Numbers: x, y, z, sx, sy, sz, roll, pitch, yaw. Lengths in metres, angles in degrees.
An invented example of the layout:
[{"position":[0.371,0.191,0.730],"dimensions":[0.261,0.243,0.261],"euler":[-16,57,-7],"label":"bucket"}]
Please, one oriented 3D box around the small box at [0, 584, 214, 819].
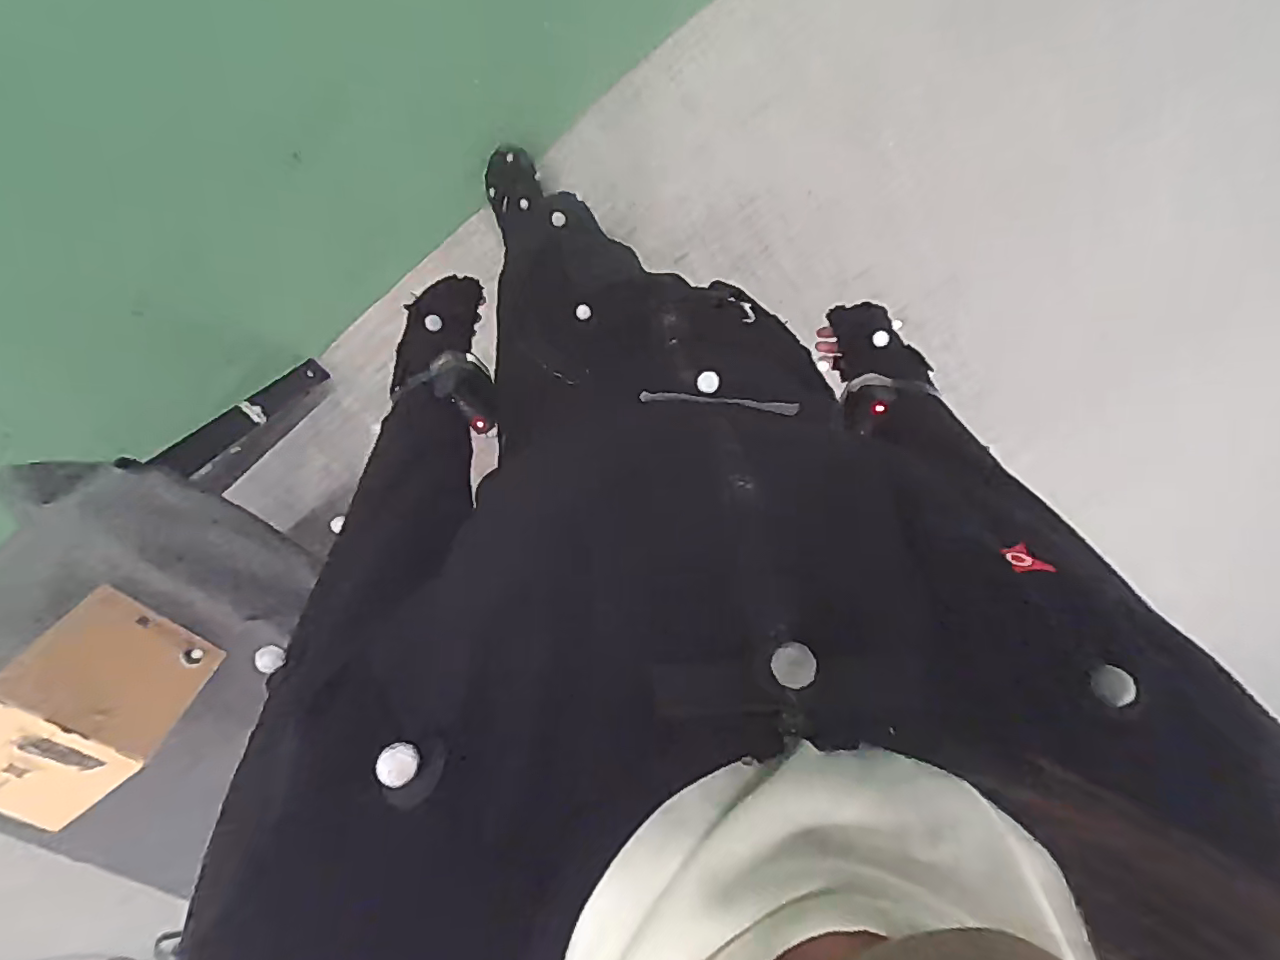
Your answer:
[{"position":[-0.670,0.259,0.652],"dimensions":[0.179,0.176,0.168],"euler":[-35,118,13],"label":"small box"}]
